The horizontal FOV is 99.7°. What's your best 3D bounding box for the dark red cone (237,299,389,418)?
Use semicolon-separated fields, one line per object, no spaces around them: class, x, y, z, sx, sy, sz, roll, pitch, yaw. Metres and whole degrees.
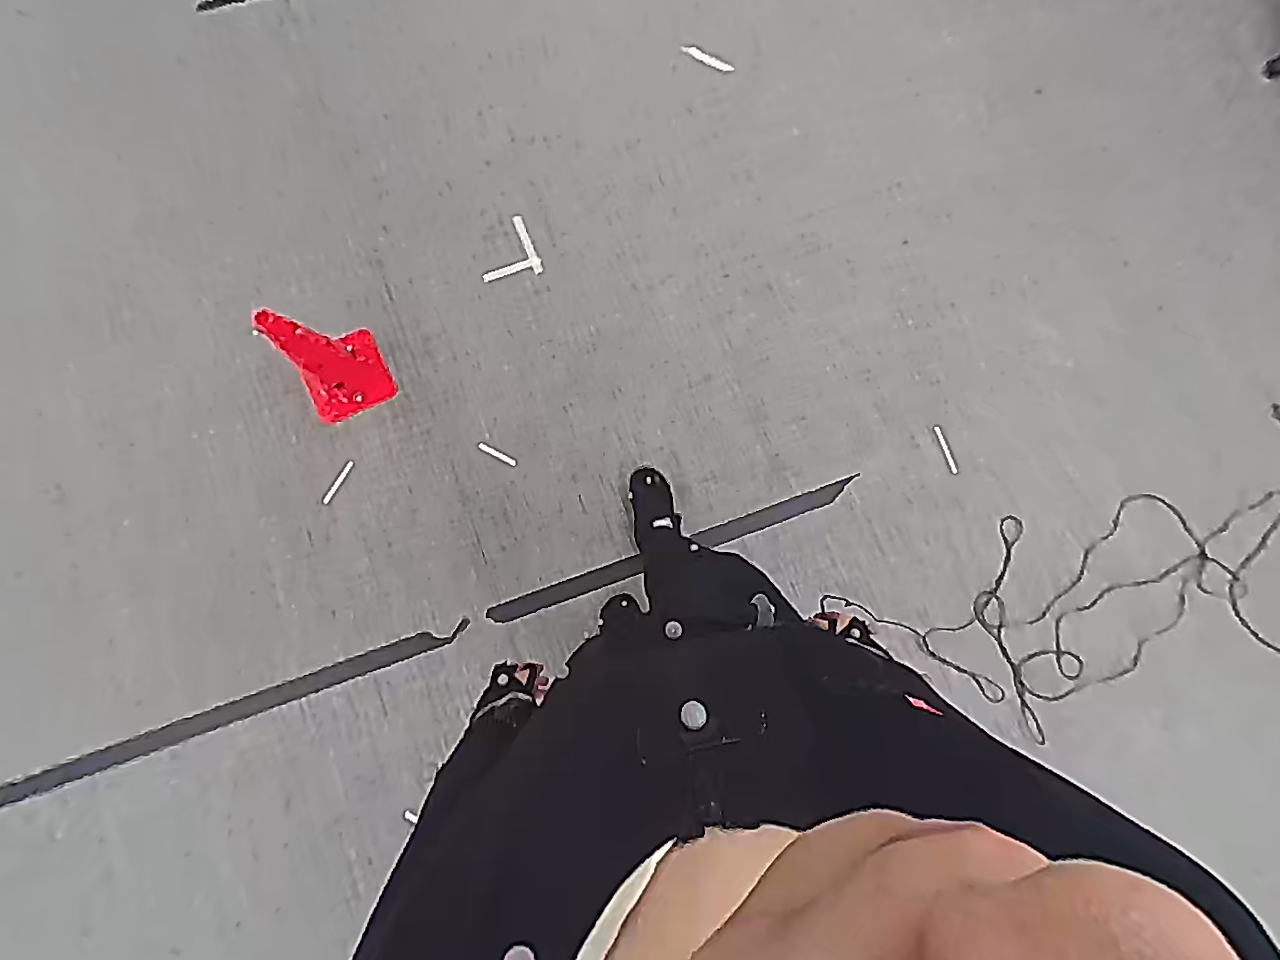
dark red cone;-0.730;-0.288;1.168;0.202;0.394;0.201;-27;87;-7
